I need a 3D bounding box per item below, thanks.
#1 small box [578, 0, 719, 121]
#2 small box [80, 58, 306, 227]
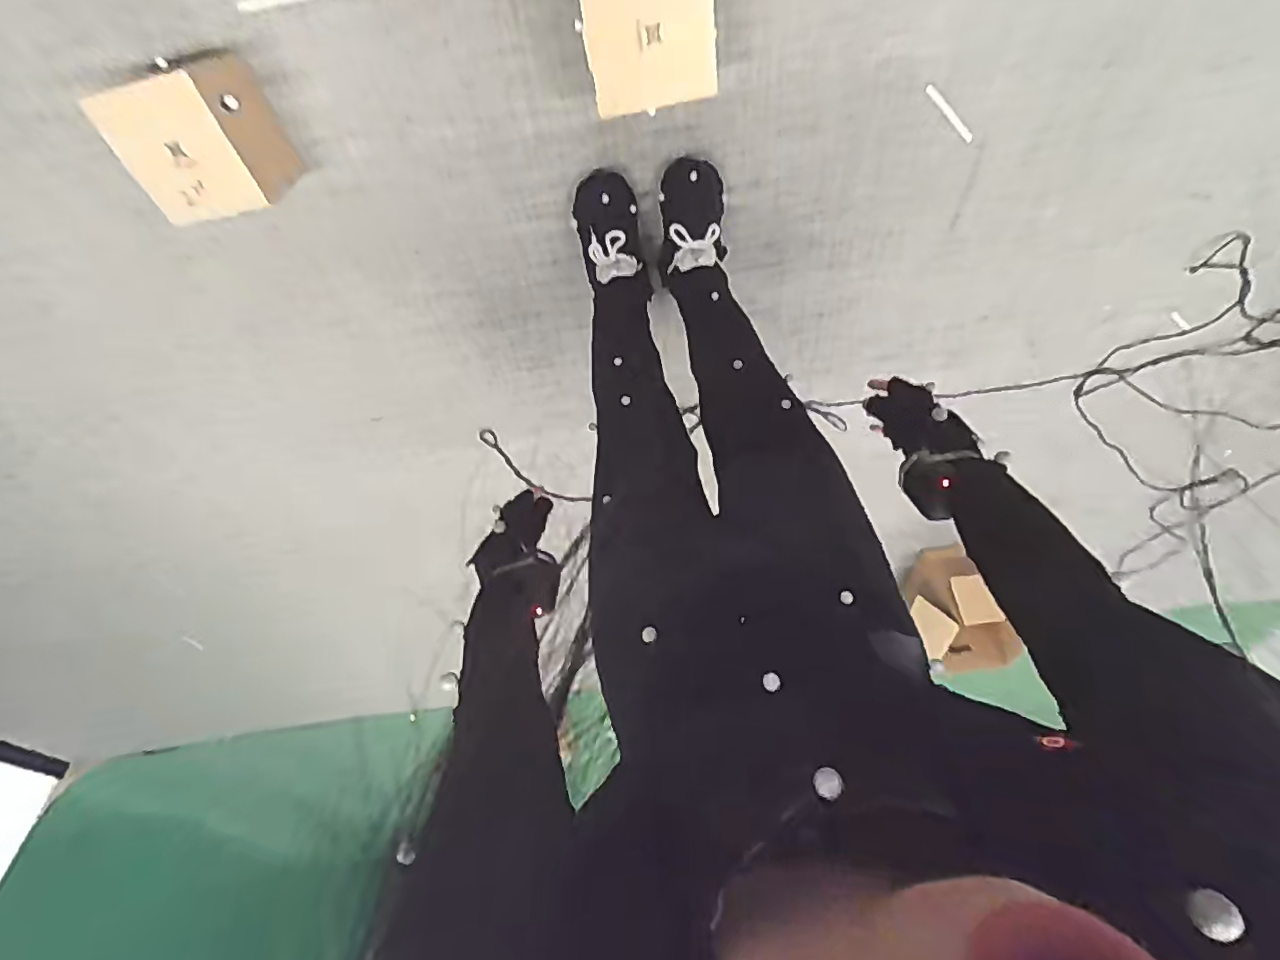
[{"bbox_3d":[0.009,-0.645,0.770,0.179,0.176,0.168,-9,137,5],"label":"small box"},{"bbox_3d":[-0.663,-0.523,0.831,0.168,0.176,0.179,-9,136,4],"label":"small box"}]
